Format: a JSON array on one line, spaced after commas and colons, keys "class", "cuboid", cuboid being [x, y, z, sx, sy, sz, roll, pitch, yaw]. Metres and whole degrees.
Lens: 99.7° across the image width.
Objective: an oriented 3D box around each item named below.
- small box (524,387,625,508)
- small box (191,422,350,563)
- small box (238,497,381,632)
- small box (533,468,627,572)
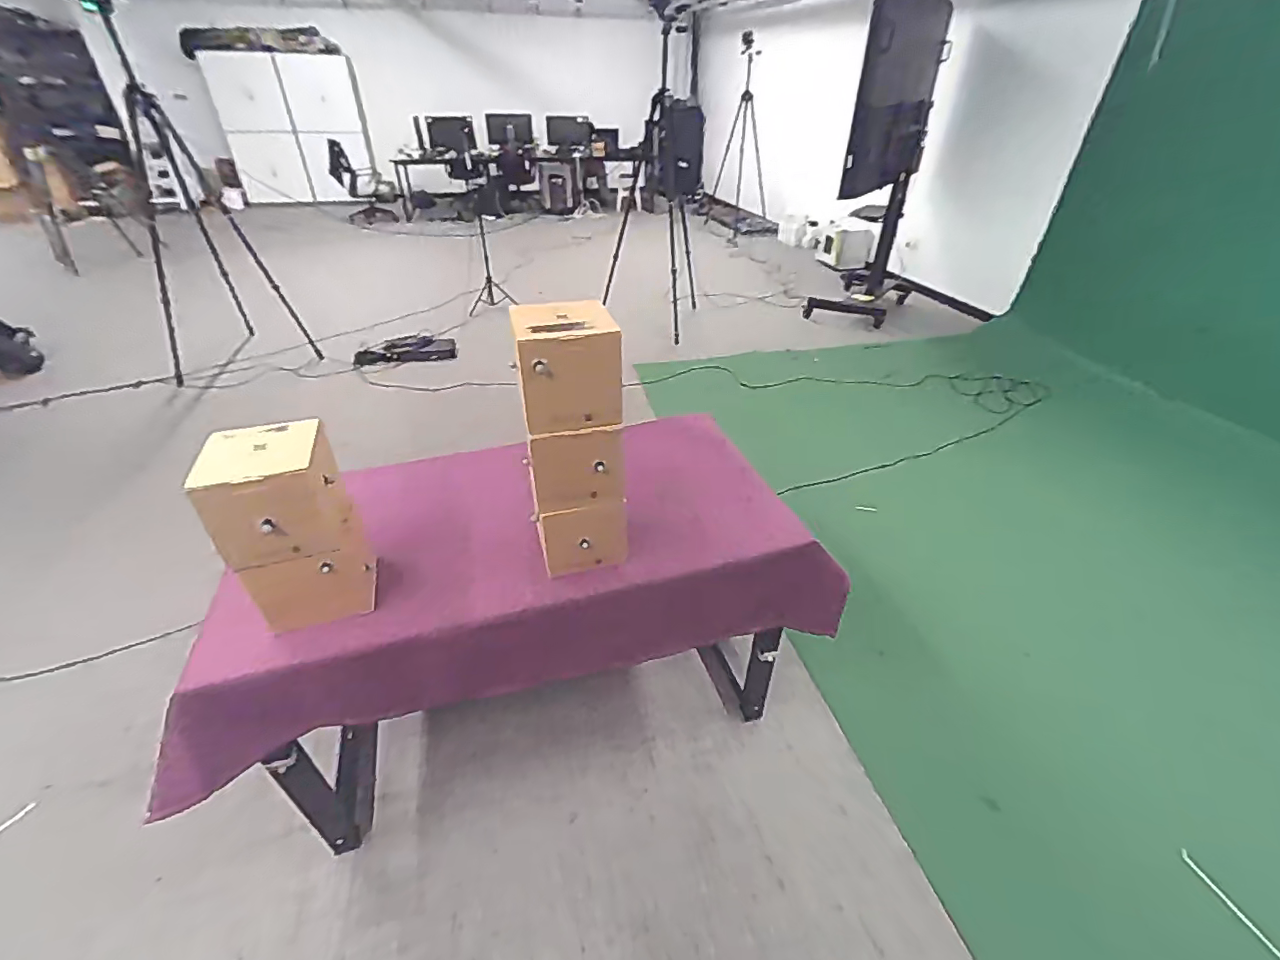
[{"class": "small box", "cuboid": [-0.125, -0.060, 1.041, 0.168, 0.176, 0.179, -8, 36, -12]}, {"class": "small box", "cuboid": [-0.612, 0.024, 0.924, 0.168, 0.176, 0.179, -11, 37, -17]}, {"class": "small box", "cuboid": [-0.607, 0.160, 1.018, 0.179, 0.176, 0.168, -11, 37, -16]}, {"class": "small box", "cuboid": [-0.124, 0.075, 1.133, 0.168, 0.176, 0.179, -9, 36, -13]}]
